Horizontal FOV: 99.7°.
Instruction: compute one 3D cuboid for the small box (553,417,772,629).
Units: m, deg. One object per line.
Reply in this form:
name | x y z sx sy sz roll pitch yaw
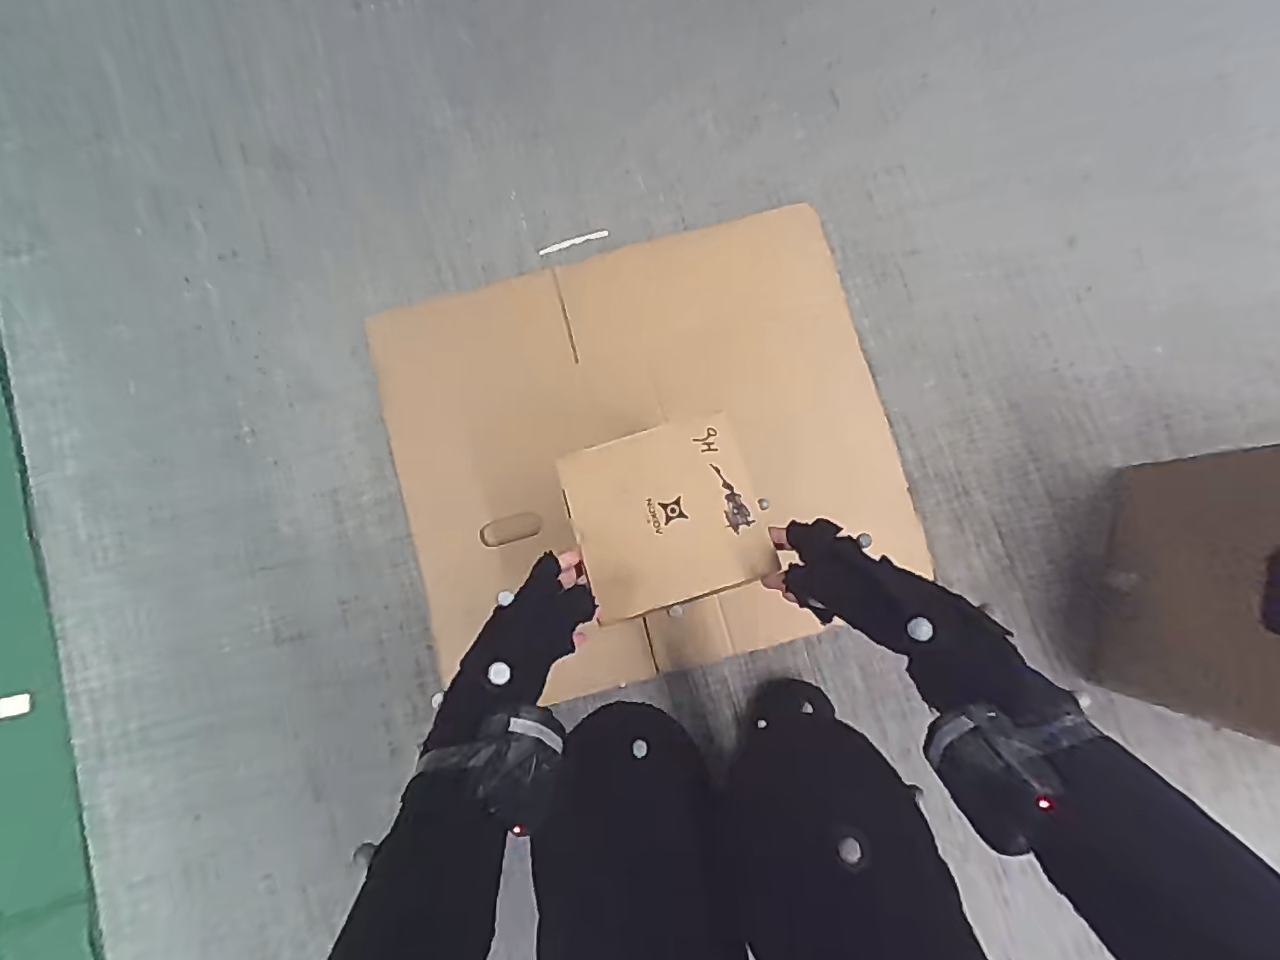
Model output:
small box | 0.024 0.060 0.601 0.179 0.176 0.168 -20 73 -3
